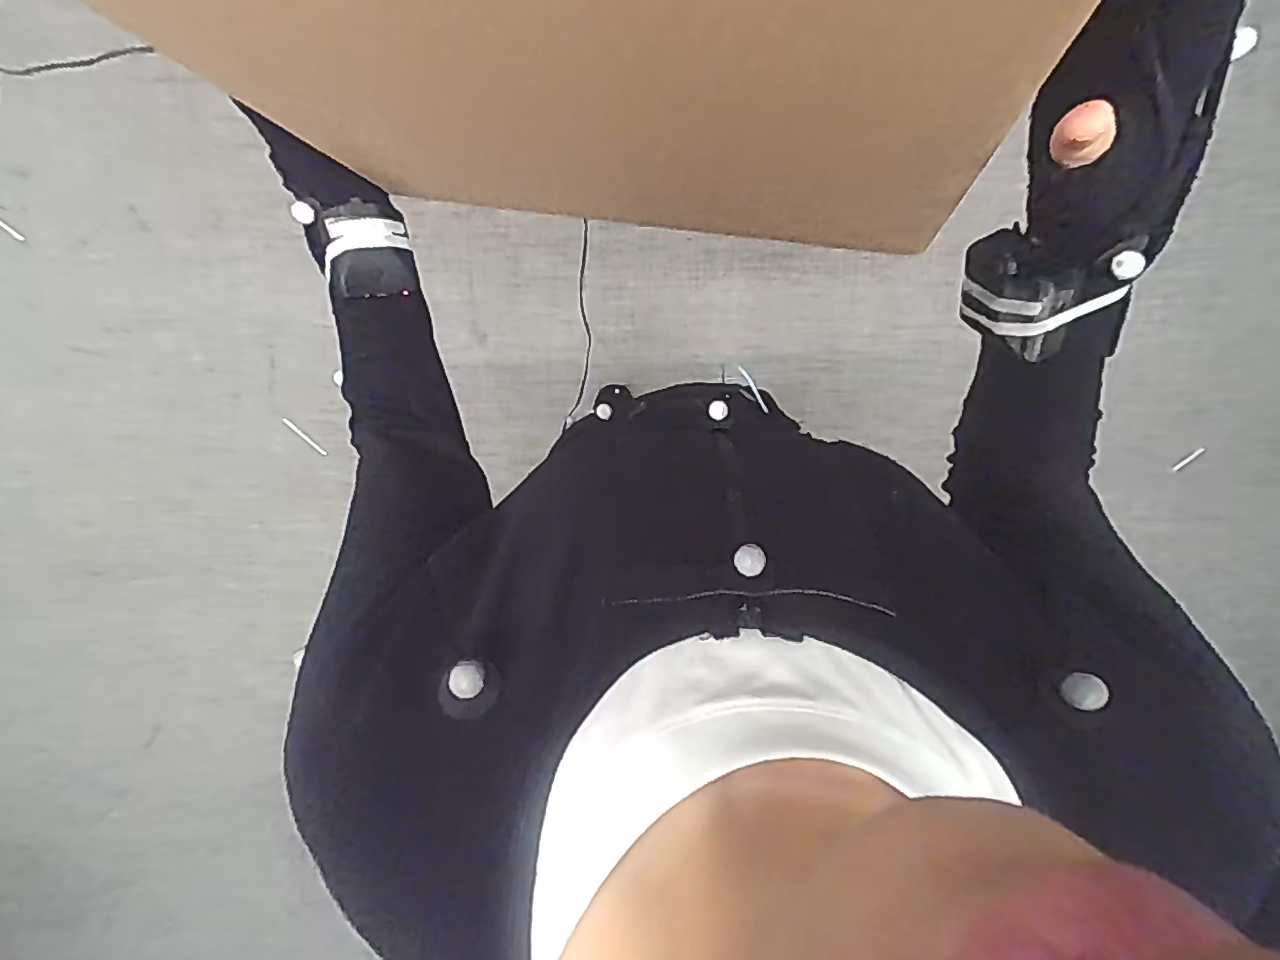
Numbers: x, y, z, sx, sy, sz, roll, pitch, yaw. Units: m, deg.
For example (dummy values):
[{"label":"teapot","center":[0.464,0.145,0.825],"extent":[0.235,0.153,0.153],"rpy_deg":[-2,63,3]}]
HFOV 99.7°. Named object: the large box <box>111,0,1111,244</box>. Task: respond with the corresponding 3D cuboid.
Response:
[{"label":"large box","center":[-0.014,-0.325,0.227],"extent":[0.408,0.320,0.320],"rpy_deg":[13,97,13]}]
